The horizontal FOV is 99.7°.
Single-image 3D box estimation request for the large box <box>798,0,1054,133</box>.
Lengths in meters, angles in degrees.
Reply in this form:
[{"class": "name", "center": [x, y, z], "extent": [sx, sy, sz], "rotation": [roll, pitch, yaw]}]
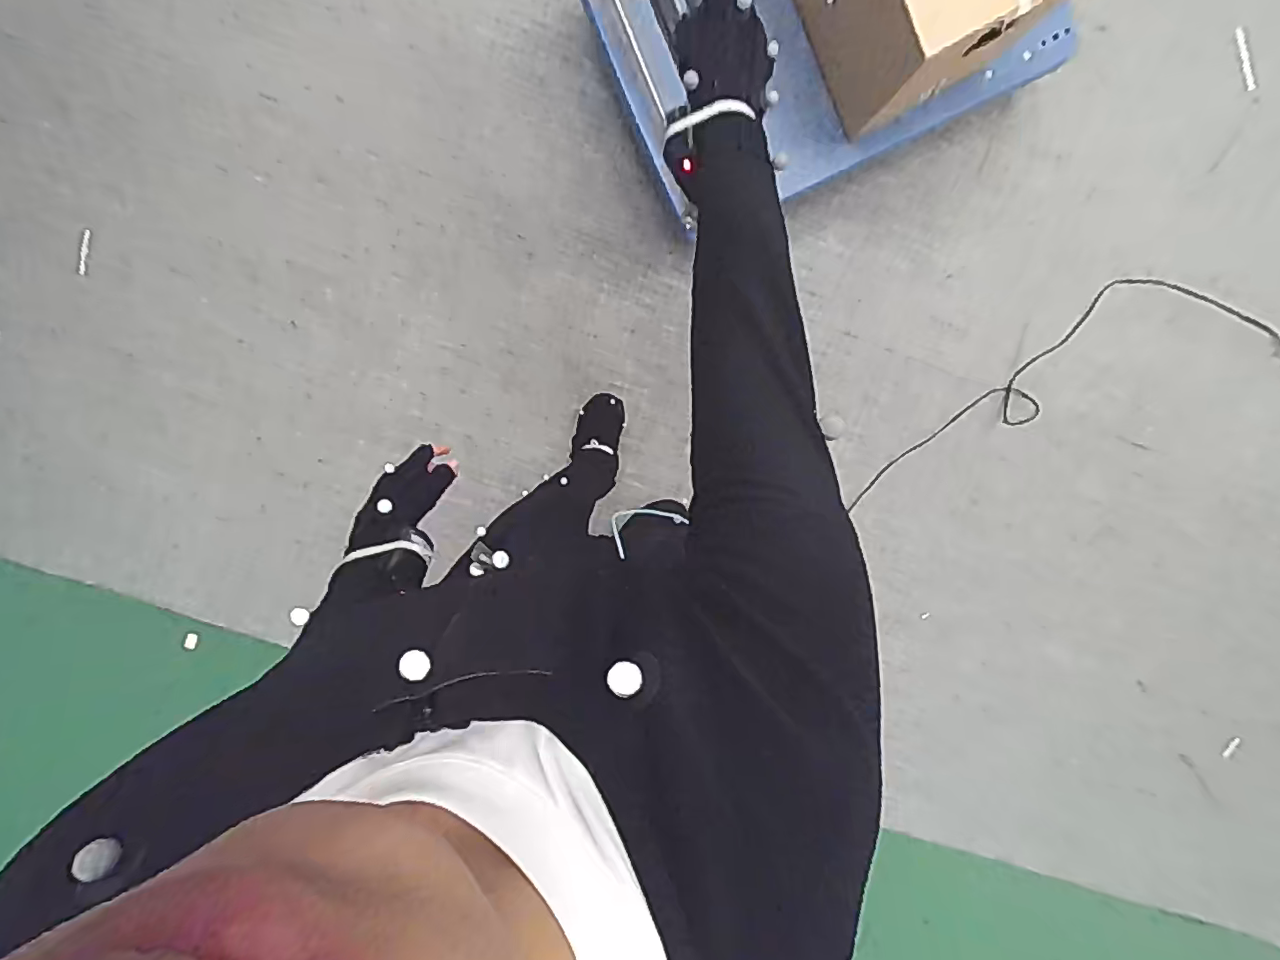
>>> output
[{"class": "large box", "center": [0.481, -0.920, 0.923], "extent": [0.320, 0.320, 0.408], "rotation": [-27, 100, 5]}]
